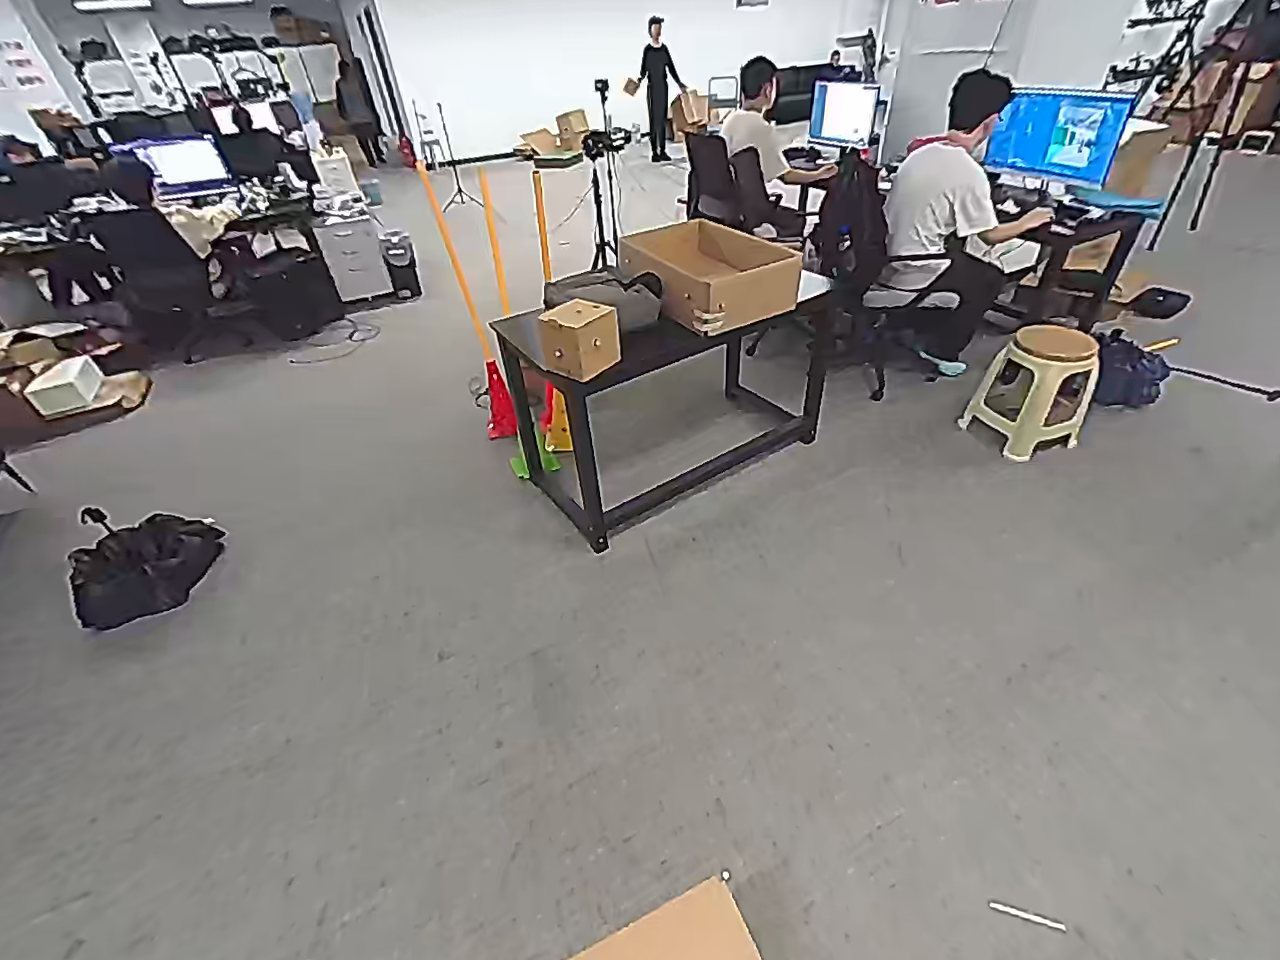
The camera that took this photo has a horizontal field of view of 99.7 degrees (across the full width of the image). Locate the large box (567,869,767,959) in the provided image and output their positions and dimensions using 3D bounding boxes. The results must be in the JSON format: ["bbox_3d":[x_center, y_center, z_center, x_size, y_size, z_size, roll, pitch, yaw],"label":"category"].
[{"bbox_3d":[0.048,0.989,0.940,0.408,0.320,0.320,-19,41,-16],"label":"large box"}]
